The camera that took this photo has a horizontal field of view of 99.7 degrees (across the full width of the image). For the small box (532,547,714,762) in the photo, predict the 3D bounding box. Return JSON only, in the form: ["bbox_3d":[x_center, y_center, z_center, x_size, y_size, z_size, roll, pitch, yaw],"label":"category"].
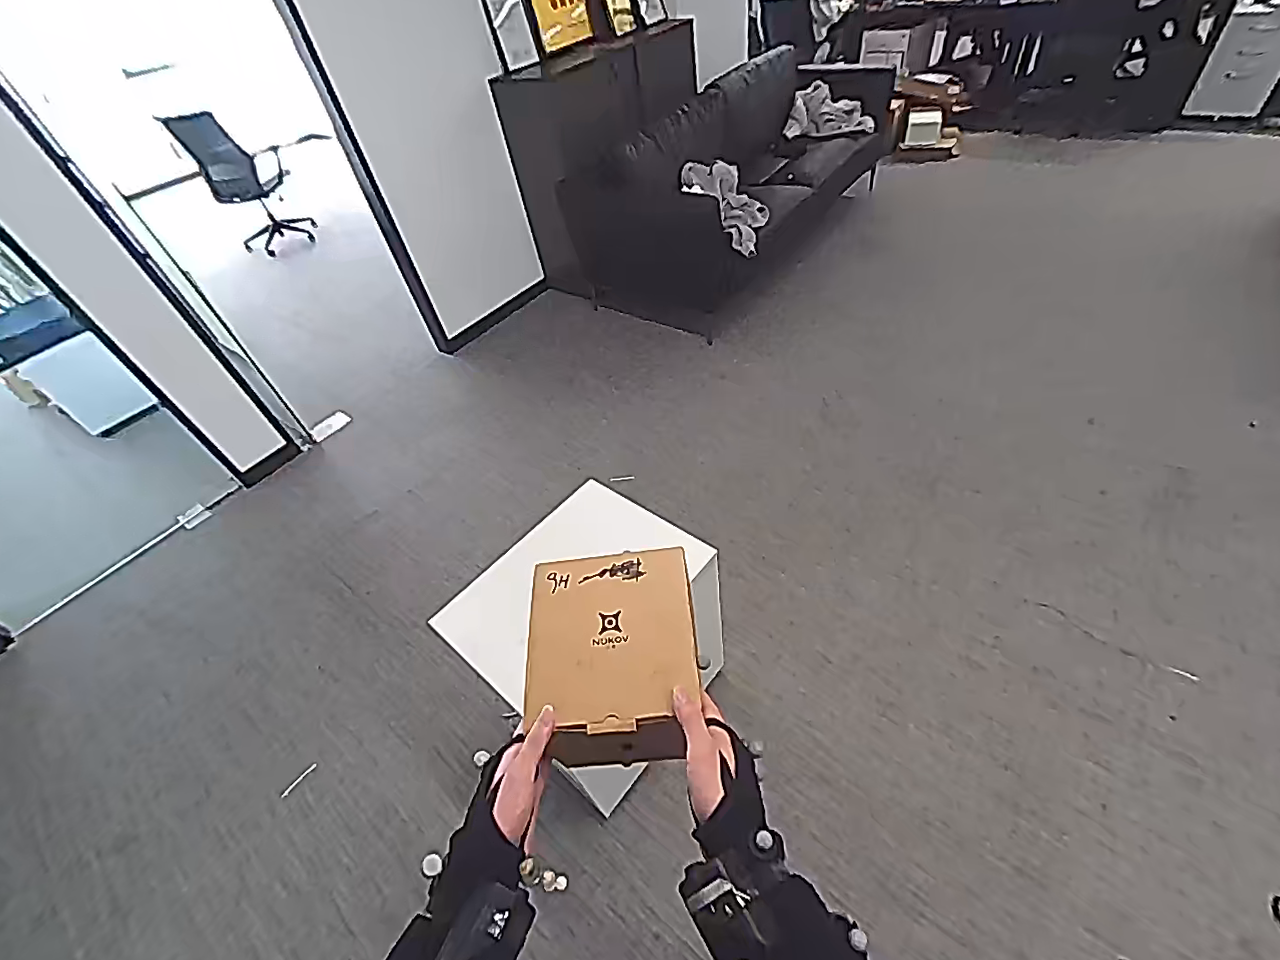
[{"bbox_3d":[-0.014,0.201,0.603,0.168,0.176,0.179,-9,51,3],"label":"small box"}]
